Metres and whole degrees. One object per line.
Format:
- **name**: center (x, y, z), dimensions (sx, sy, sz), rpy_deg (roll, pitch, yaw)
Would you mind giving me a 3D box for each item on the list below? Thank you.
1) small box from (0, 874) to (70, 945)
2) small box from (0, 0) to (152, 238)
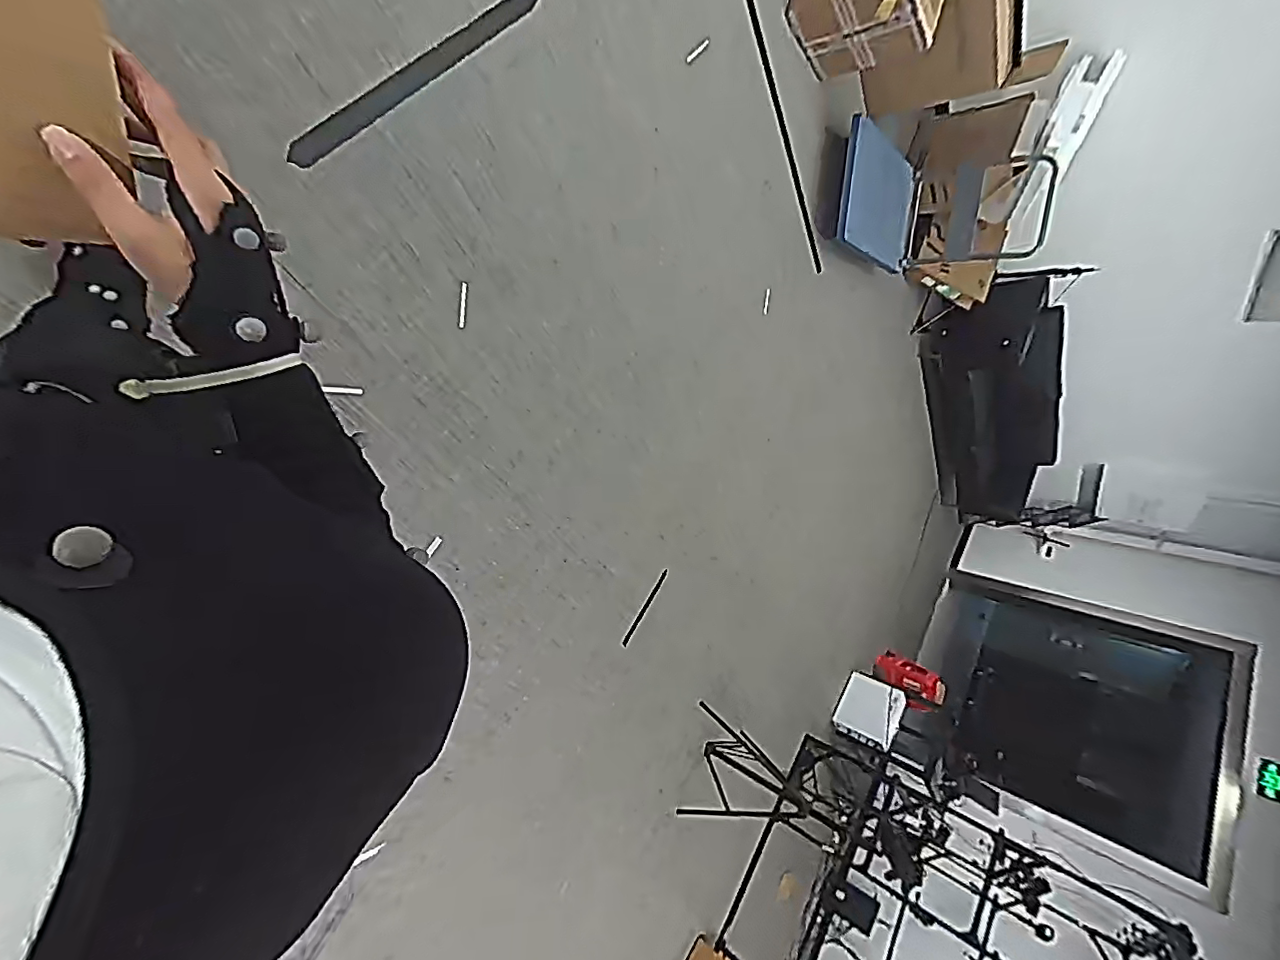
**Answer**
- **small box**: center (-1.158, 0.831, 0.941), dimensions (0.168, 0.176, 0.179), rpy_deg (48, 65, -45)
- **small box**: center (-0.381, -0.240, 0.263), dimensions (0.179, 0.176, 0.168), rpy_deg (-16, 137, -46)
